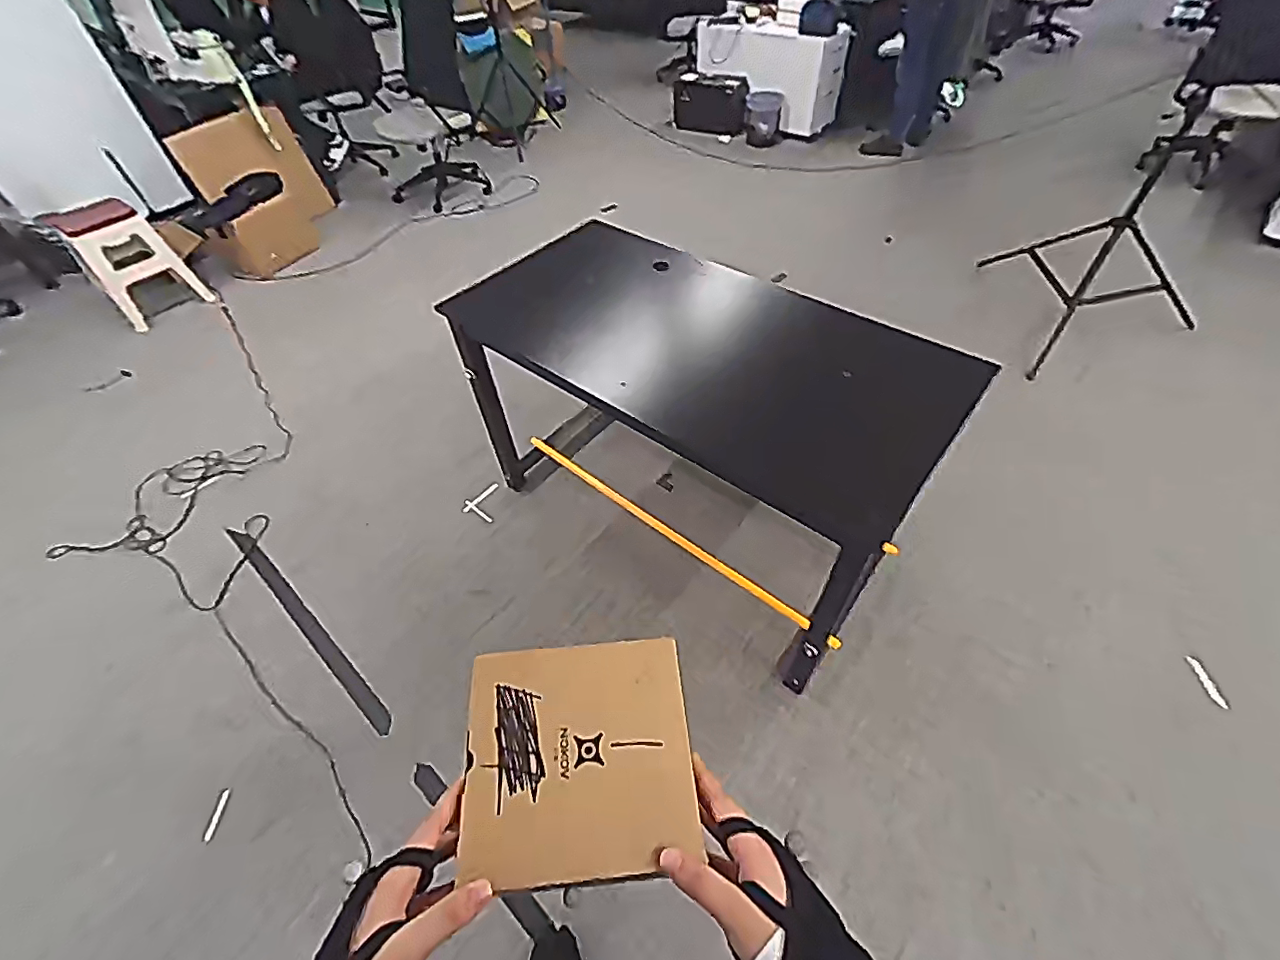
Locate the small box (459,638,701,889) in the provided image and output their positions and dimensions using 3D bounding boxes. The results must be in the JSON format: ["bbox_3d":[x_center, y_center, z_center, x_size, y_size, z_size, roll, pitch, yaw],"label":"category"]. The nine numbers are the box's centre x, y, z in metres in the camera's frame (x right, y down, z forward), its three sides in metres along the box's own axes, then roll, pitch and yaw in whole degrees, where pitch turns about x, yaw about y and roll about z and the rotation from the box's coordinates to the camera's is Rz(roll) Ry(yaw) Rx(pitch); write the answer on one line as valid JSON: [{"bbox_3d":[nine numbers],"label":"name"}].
[{"bbox_3d":[-0.046,0.261,0.493,0.179,0.176,0.168,-5,52,-3],"label":"small box"}]
